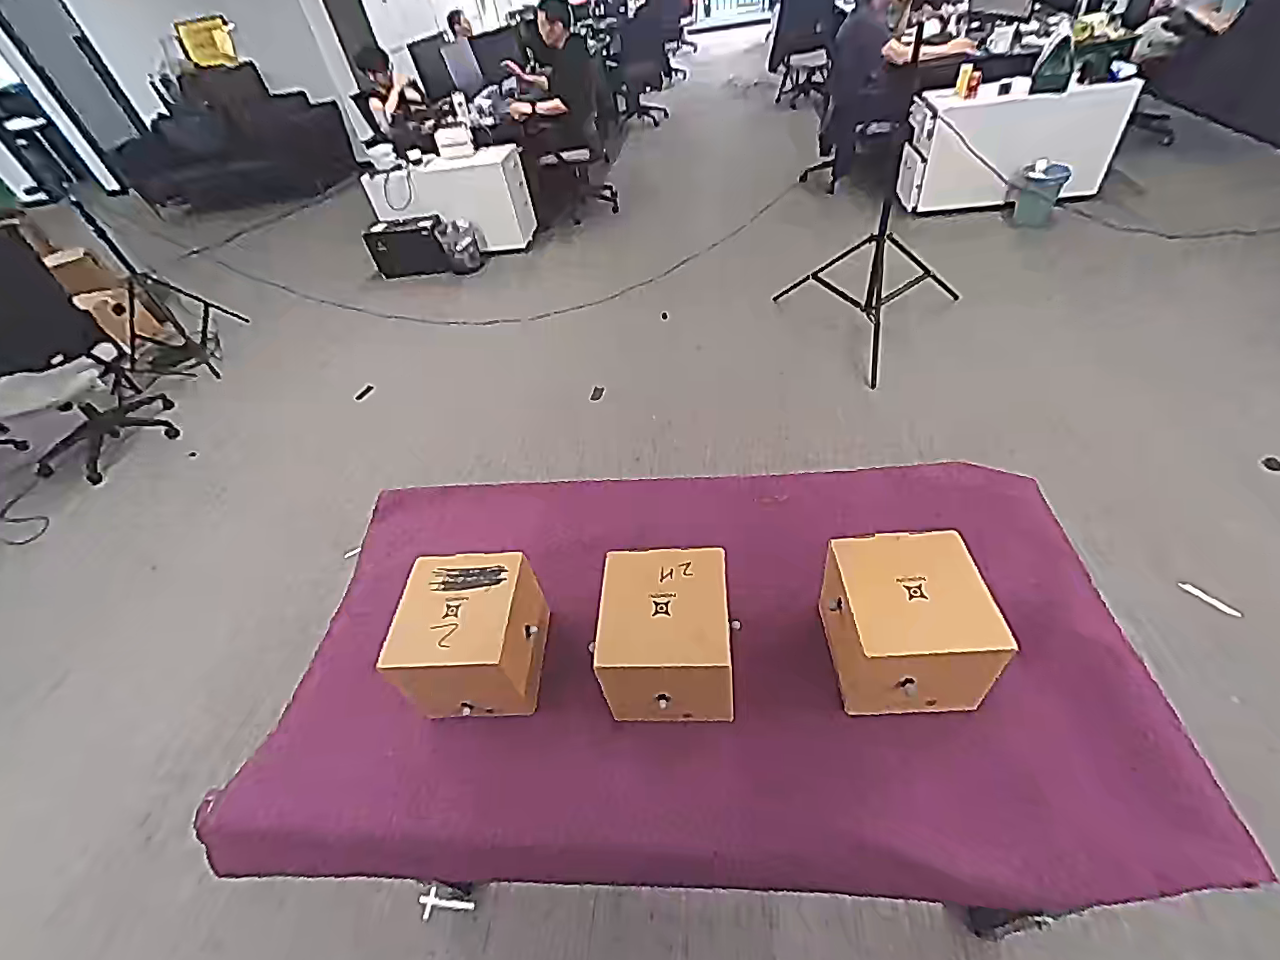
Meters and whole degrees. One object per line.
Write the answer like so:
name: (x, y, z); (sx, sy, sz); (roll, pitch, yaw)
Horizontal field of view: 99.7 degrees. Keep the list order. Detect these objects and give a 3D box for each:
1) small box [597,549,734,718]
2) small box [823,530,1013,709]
small box: (0.044, 0.217, 0.757); (0.168, 0.176, 0.179); (-2, 45, 7)
small box: (0.351, 0.192, 0.724); (0.168, 0.176, 0.179); (-6, 43, 6)
